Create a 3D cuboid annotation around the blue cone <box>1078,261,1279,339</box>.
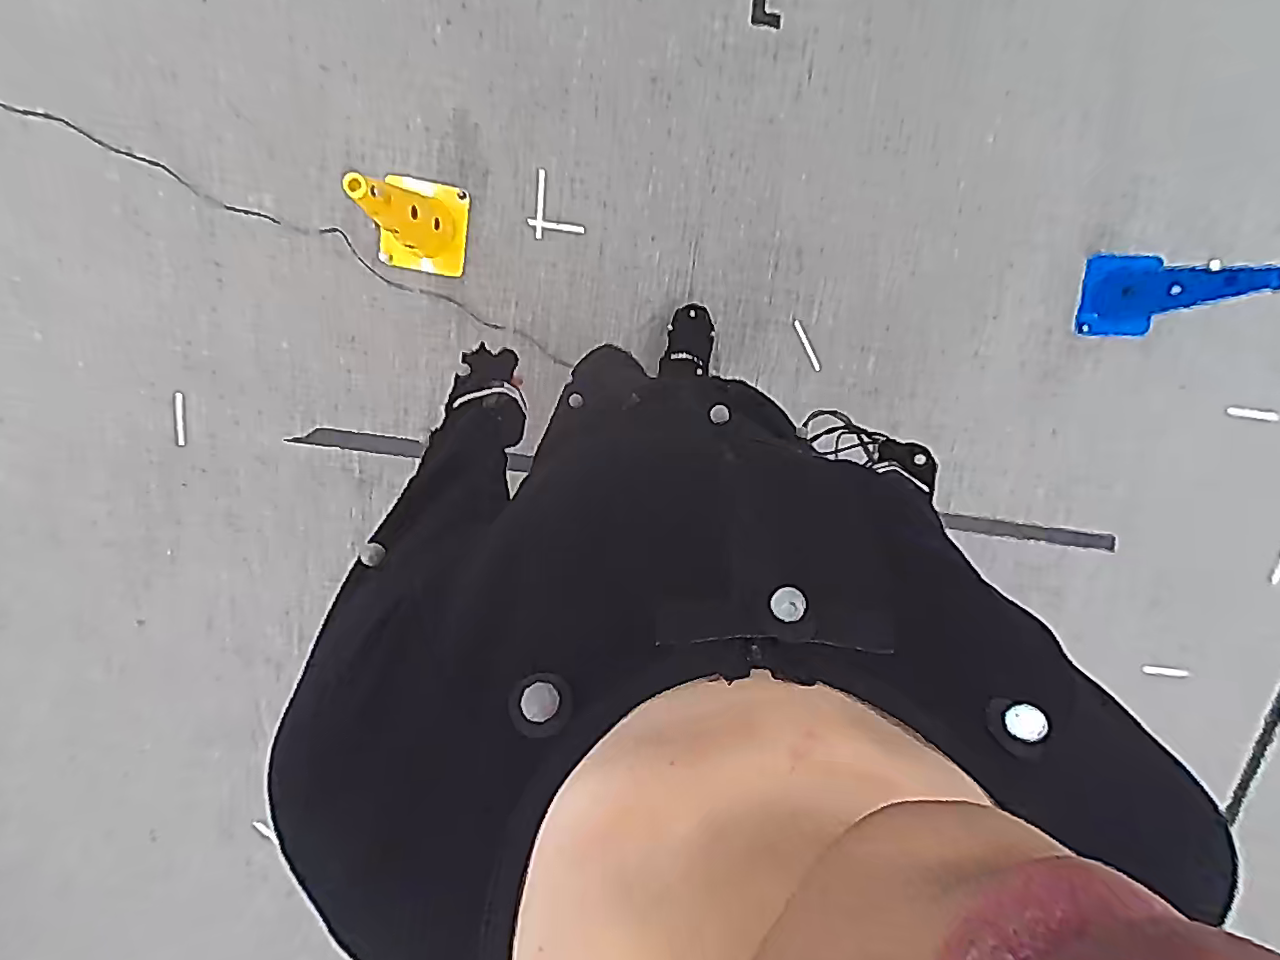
[{"bbox_3d":[1.242,-0.424,1.234,0.193,0.380,0.192,2,104,-3],"label":"blue cone"}]
